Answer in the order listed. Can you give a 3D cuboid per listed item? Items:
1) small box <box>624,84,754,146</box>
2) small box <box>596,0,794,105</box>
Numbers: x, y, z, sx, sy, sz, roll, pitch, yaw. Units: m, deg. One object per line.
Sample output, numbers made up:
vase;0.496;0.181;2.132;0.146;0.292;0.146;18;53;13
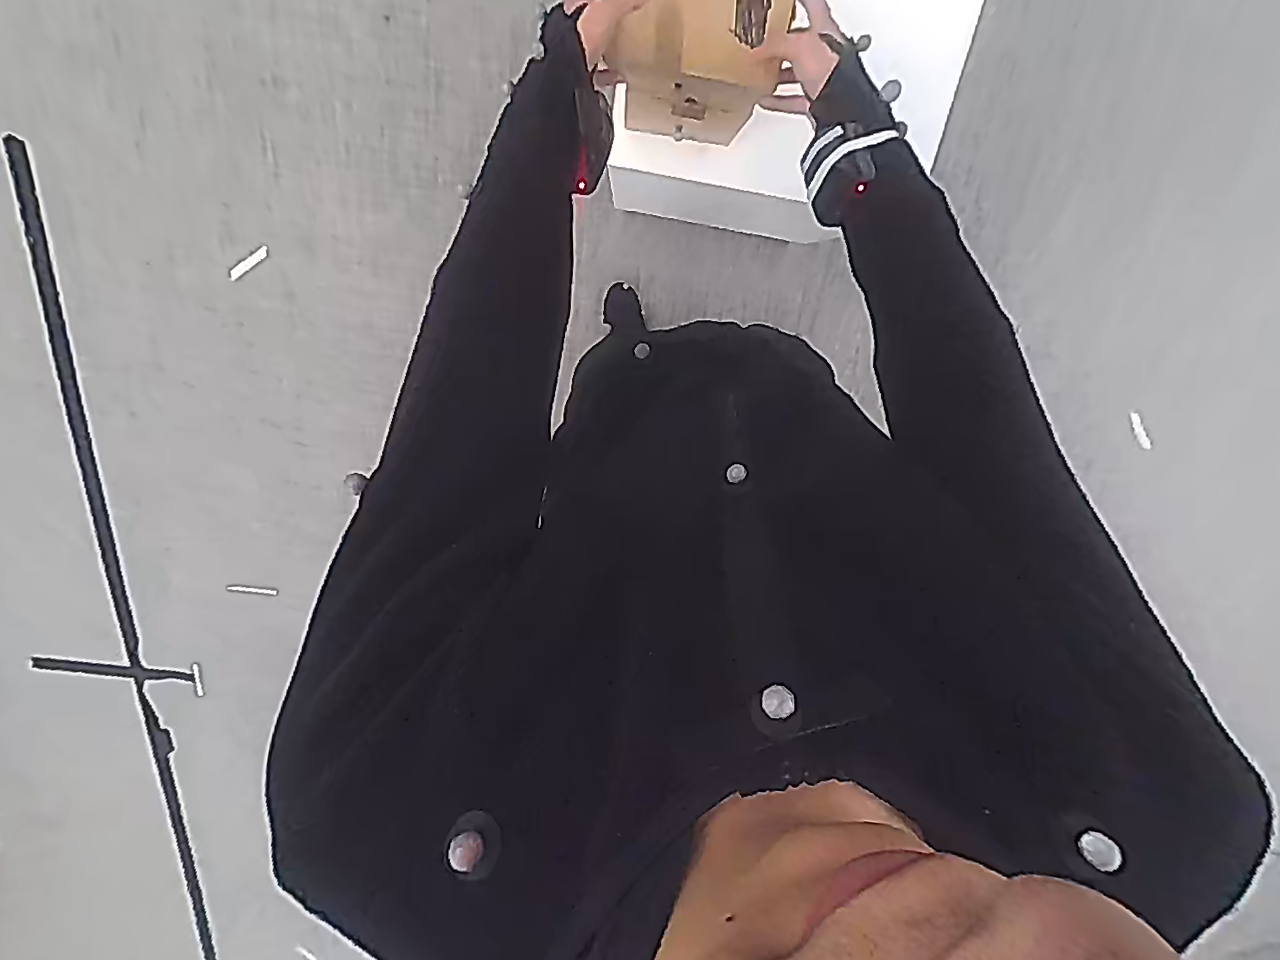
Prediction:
small box;0.070;-0.576;0.721;0.168;0.176;0.179;7;110;-4
small box;0.059;-0.496;0.548;0.179;0.176;0.168;9;120;-2
